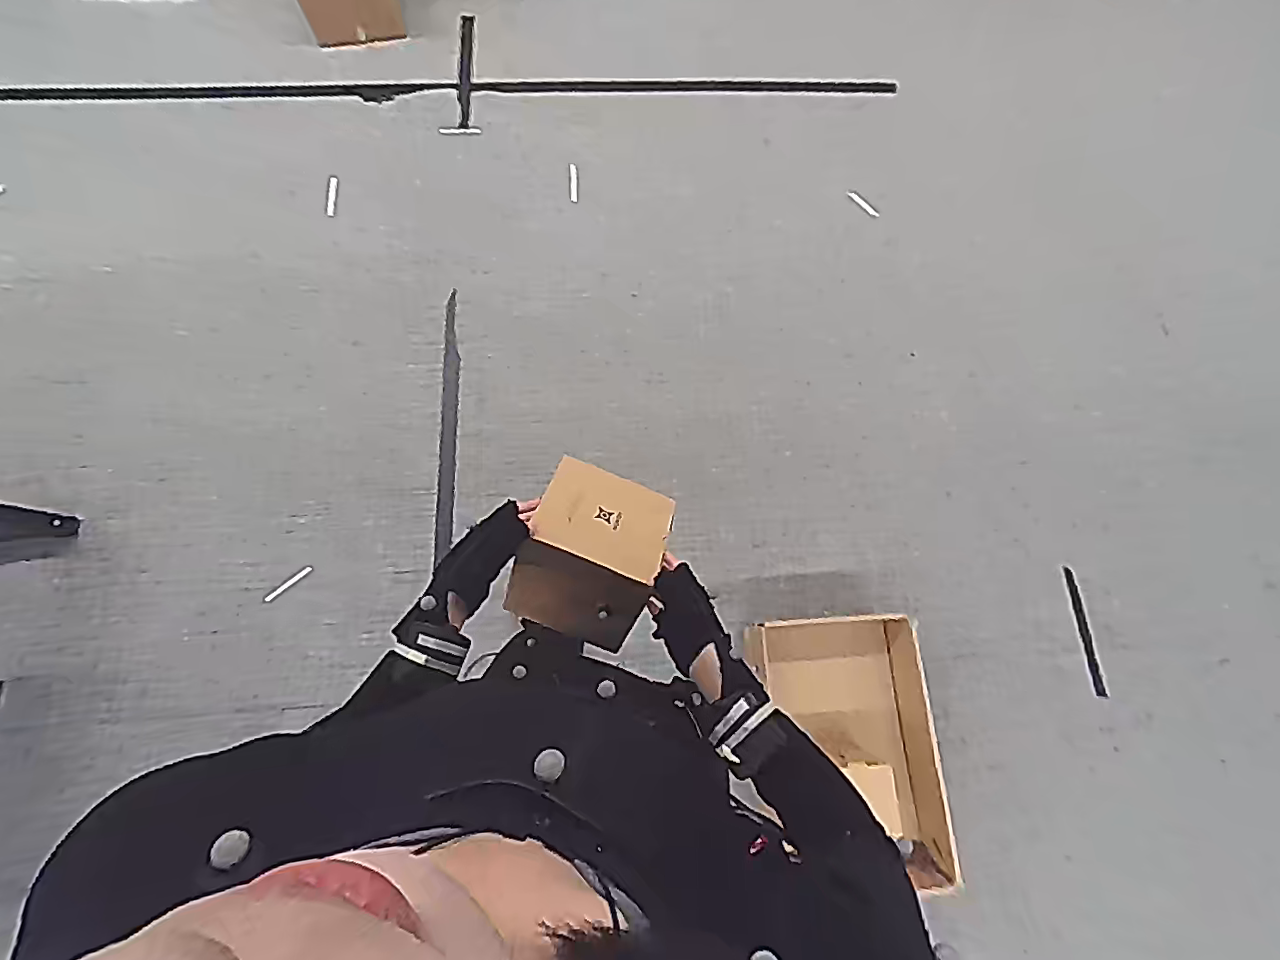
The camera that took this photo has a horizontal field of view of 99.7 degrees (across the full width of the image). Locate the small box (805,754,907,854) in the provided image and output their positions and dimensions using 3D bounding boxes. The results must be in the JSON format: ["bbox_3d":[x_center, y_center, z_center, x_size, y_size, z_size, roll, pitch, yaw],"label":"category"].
[{"bbox_3d":[0.510,0.770,1.304,0.168,0.176,0.179,-2,74,-2],"label":"small box"}]

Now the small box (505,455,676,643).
[{"bbox_3d":[-0.069,0.100,0.750,0.179,0.176,0.168,20,39,-3],"label":"small box"}]
